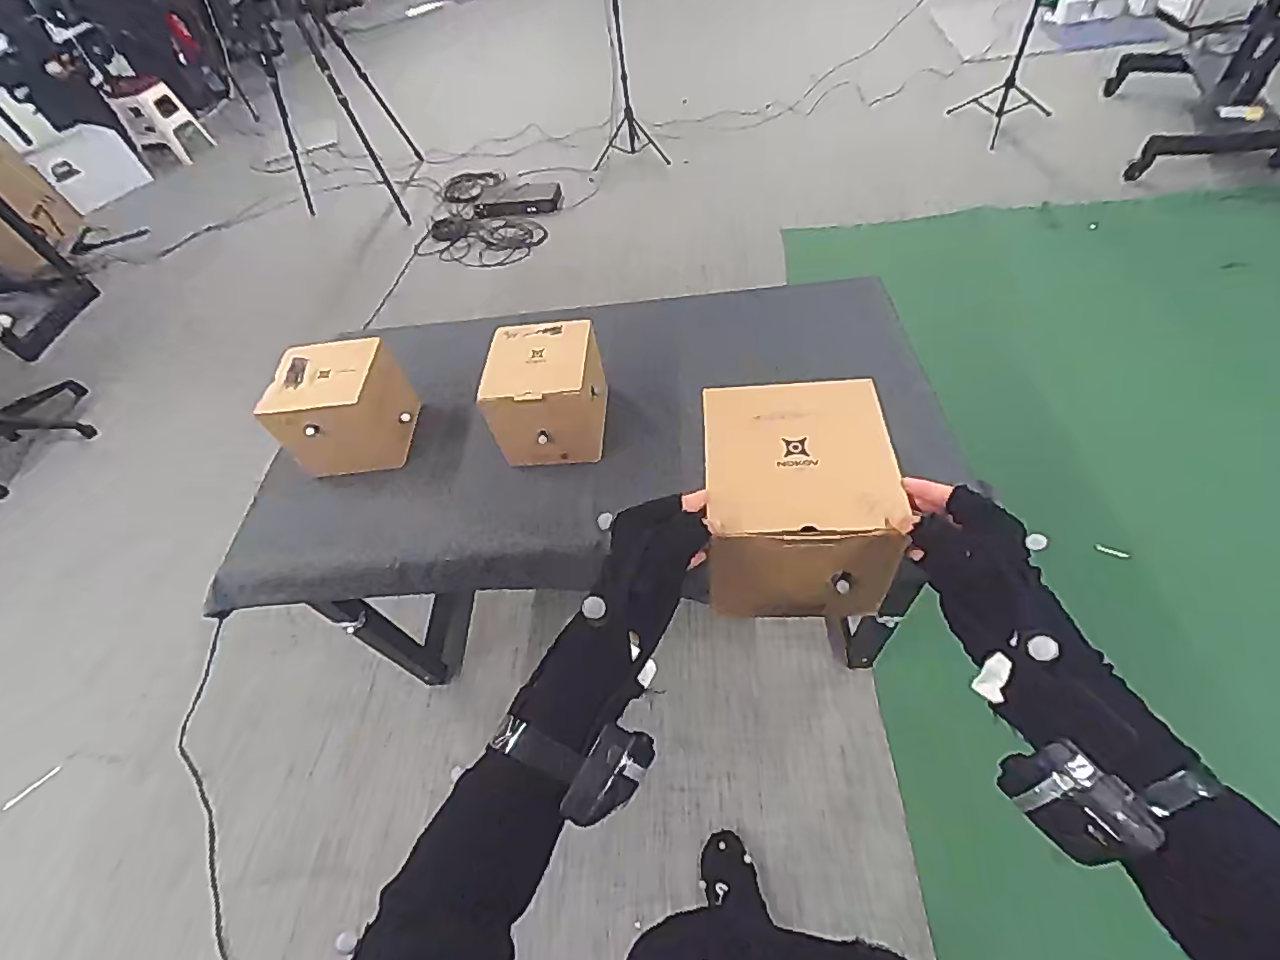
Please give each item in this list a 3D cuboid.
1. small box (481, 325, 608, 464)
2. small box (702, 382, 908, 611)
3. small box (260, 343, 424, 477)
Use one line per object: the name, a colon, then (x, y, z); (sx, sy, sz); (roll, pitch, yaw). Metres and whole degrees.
small box: (-0.152, -0.138, 0.929); (0.168, 0.176, 0.179); (-3, 53, 7)
small box: (0.151, 0.024, 0.556); (0.168, 0.176, 0.179); (-2, 51, 7)
small box: (-0.519, -0.120, 0.971); (0.179, 0.176, 0.168); (-6, 53, 3)
